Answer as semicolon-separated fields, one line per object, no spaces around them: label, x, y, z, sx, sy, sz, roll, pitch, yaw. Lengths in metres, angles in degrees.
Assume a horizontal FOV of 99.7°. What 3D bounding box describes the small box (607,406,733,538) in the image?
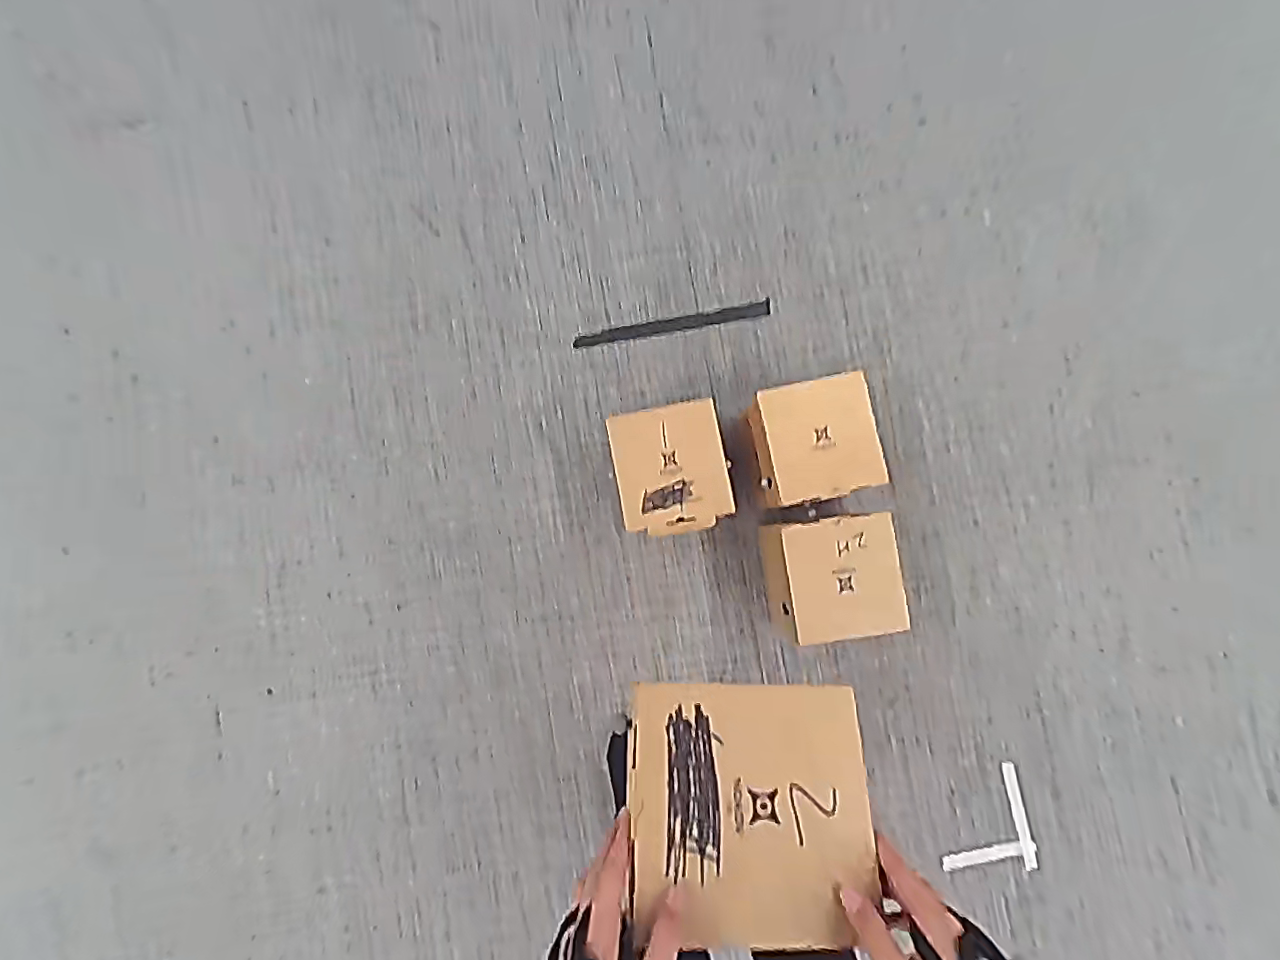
small box;0.047;-0.007;0.881;0.168;0.176;0.179;-10;84;0
